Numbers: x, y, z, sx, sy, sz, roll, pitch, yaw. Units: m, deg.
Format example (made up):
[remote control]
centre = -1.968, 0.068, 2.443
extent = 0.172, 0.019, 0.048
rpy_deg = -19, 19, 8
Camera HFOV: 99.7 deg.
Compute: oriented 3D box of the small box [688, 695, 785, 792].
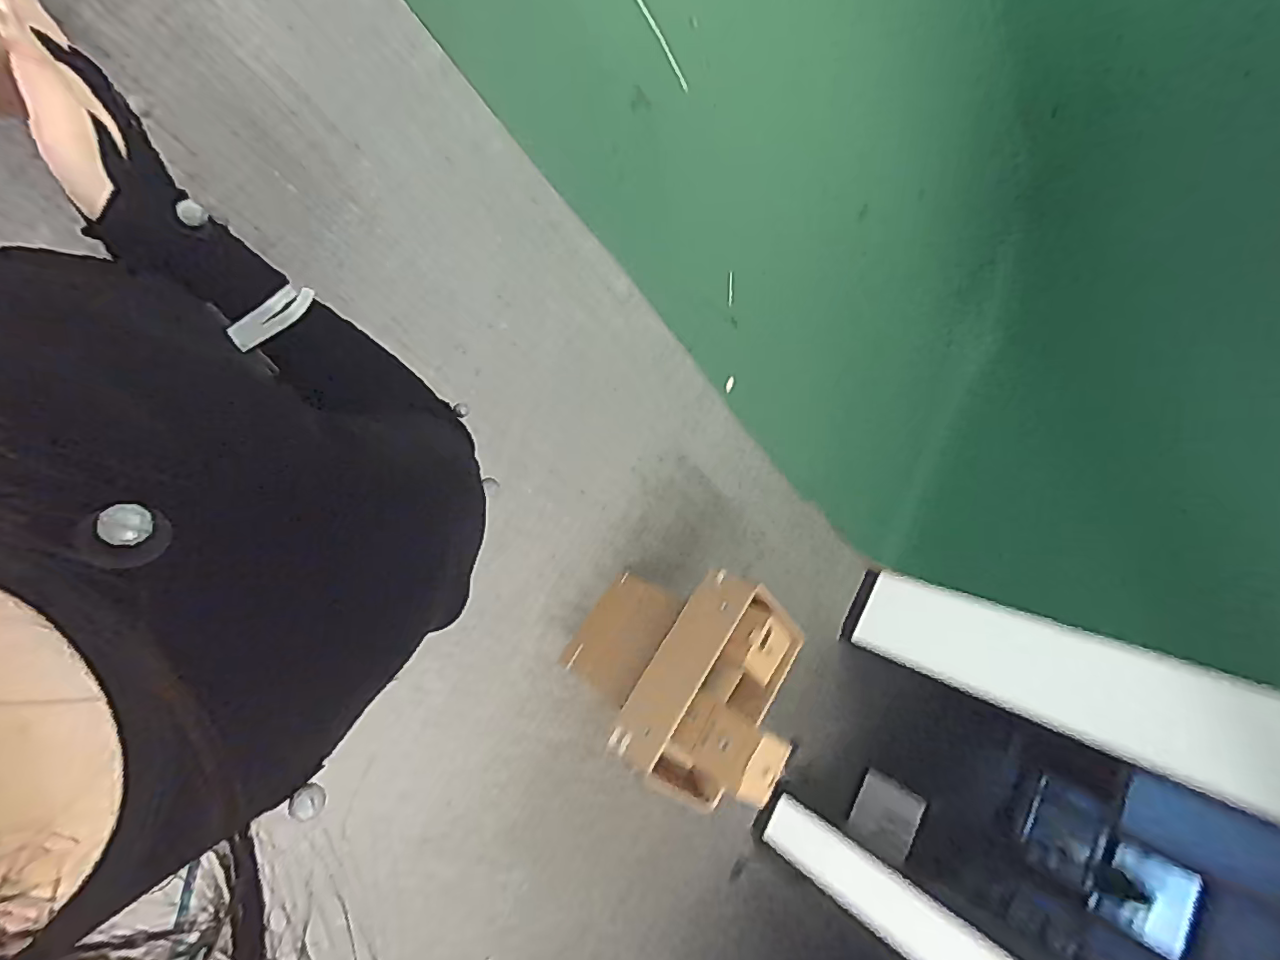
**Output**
[small box]
centre = 0.264, 0.722, 1.495
extent = 0.179, 0.176, 0.168
rpy_deg = 44, 71, -38
